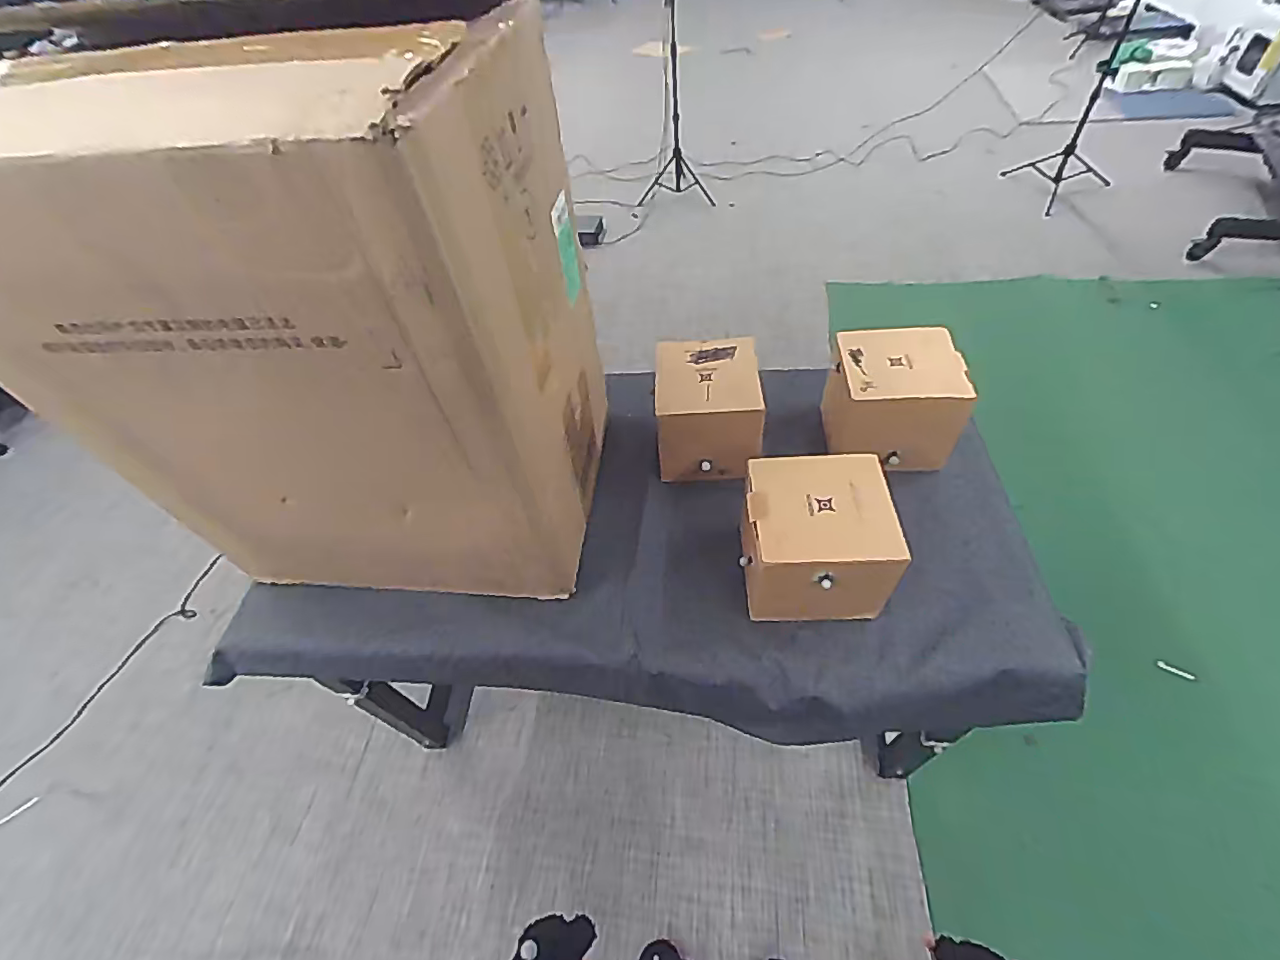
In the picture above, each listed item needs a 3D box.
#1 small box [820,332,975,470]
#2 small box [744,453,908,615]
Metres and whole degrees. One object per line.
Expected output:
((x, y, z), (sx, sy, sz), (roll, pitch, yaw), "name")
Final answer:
((0.415, -0.129, 0.905), (0.179, 0.176, 0.168), (1, 50, 6), "small box")
((0.242, 0.081, 0.758), (0.179, 0.176, 0.168), (-2, 52, 4), "small box")
